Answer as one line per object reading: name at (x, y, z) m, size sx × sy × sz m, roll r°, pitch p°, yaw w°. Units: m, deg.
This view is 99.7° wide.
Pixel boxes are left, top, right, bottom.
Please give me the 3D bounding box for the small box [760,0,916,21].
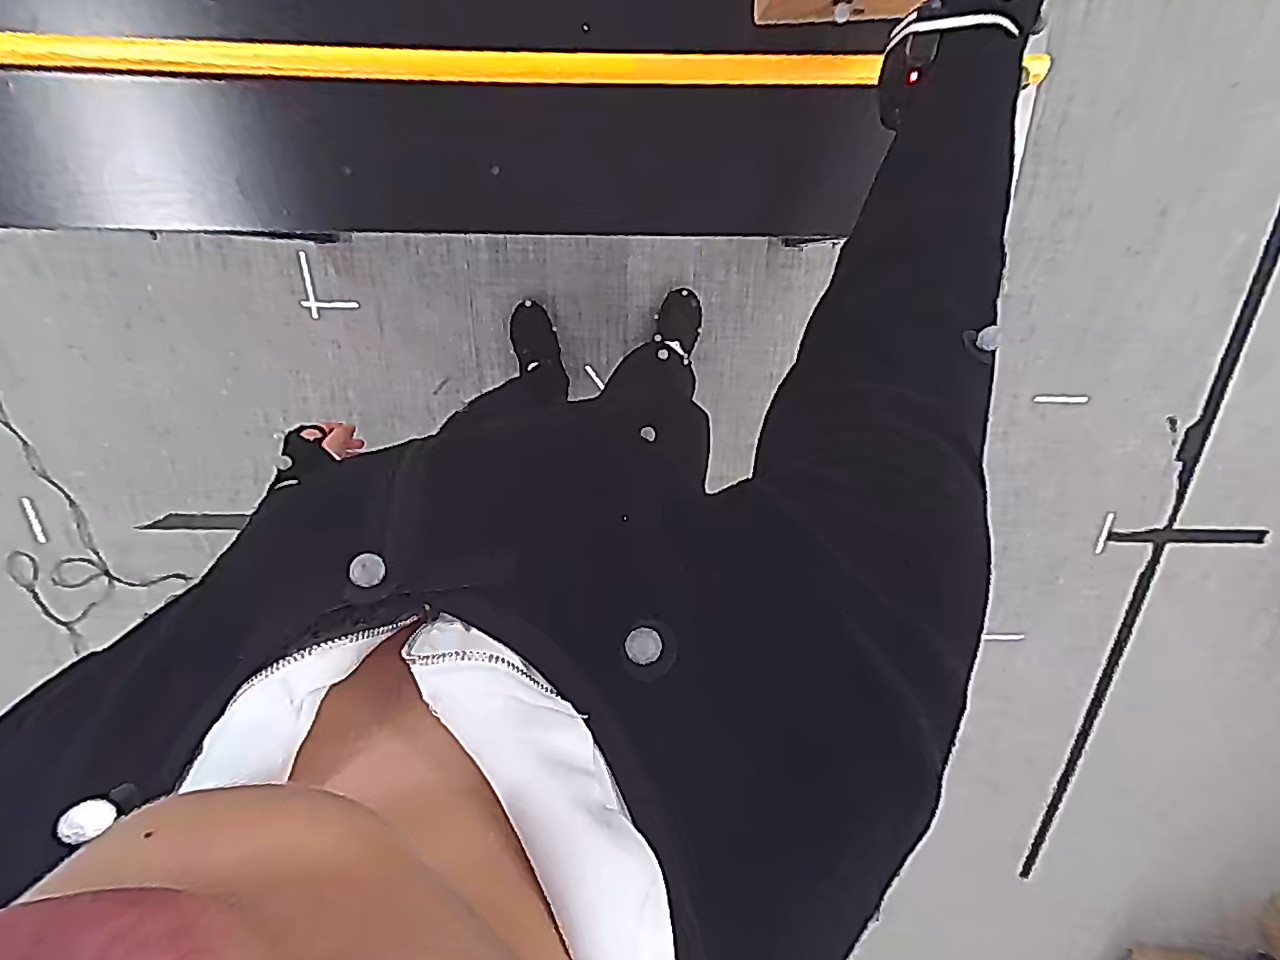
small box at (0.203, -0.547, 0.474) m, size 0.168 × 0.176 × 0.179 m, roll -3°, pitch 112°, yaw -1°
